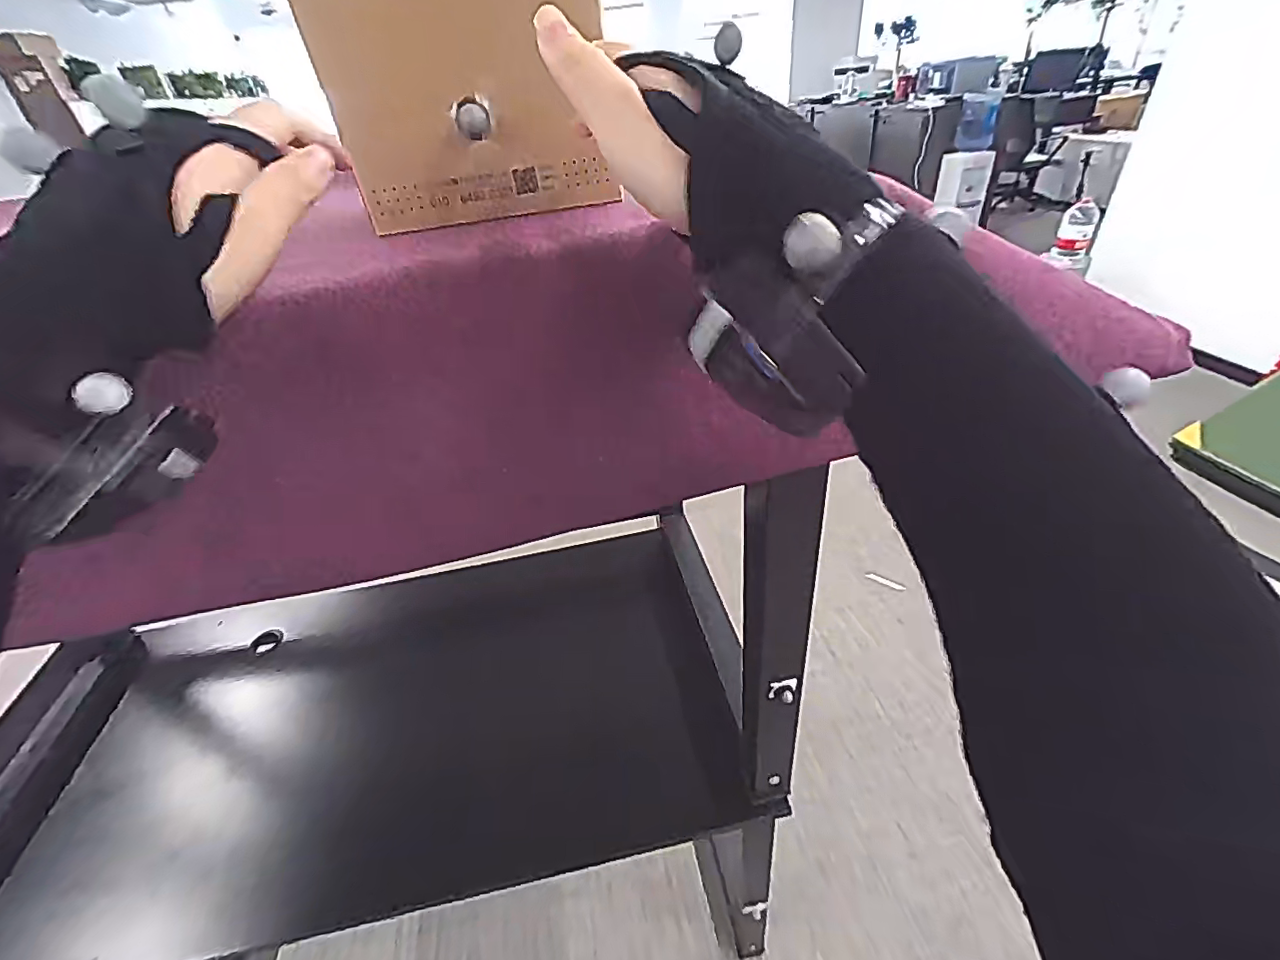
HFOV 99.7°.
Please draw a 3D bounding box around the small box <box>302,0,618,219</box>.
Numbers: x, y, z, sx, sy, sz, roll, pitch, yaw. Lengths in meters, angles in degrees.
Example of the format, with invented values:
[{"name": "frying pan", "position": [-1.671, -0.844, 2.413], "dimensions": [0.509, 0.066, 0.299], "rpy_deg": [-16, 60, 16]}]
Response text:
[{"name": "small box", "position": [-0.110, -0.289, 0.372], "dimensions": [0.168, 0.176, 0.179], "rpy_deg": [-9, 36, -2]}]
